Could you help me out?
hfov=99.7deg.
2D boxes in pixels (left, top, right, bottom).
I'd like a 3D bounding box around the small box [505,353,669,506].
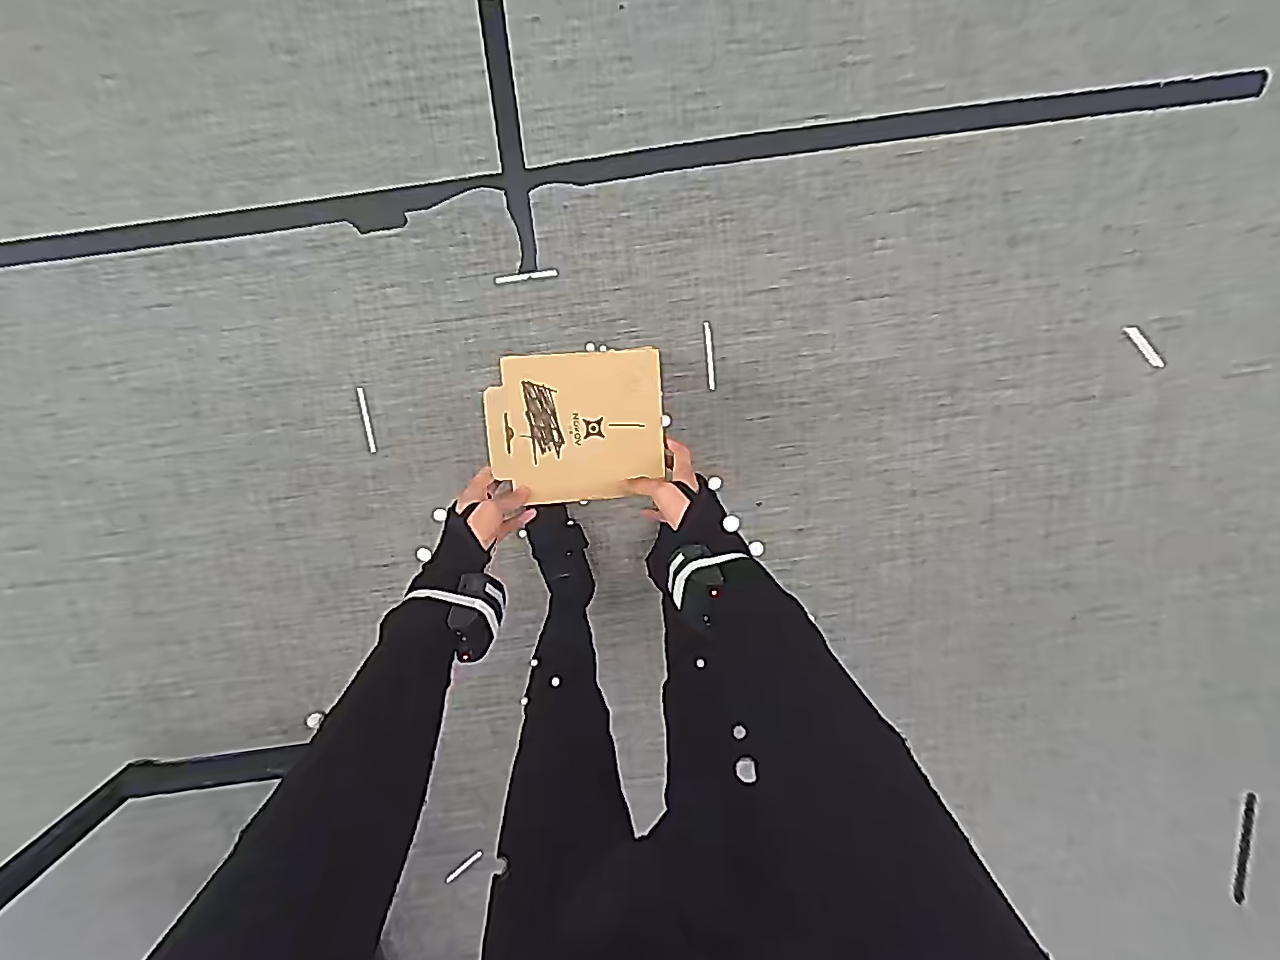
[{"bbox_3d":[-0.060,-0.066,0.681,0.179,0.176,0.168,-4,99,-2],"label":"small box"}]
